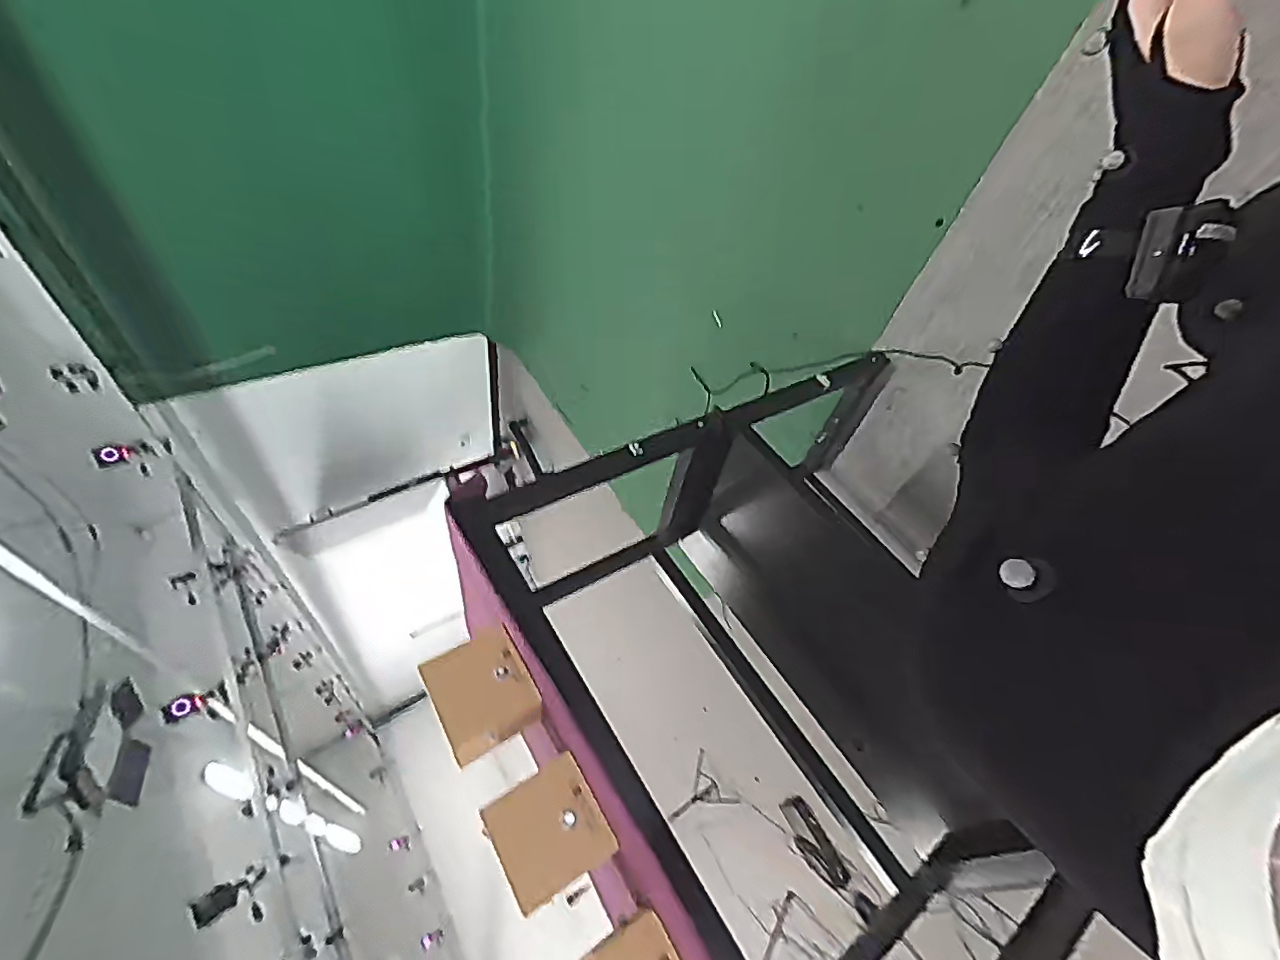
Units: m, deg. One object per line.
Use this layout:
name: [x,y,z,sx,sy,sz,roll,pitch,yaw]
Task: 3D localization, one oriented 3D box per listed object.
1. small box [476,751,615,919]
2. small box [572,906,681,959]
small box: [-0.158,0.591,0.908,0.168,0.176,0.179,51,149,26]
small box: [-0.018,0.766,0.792,0.168,0.176,0.179,51,150,27]
